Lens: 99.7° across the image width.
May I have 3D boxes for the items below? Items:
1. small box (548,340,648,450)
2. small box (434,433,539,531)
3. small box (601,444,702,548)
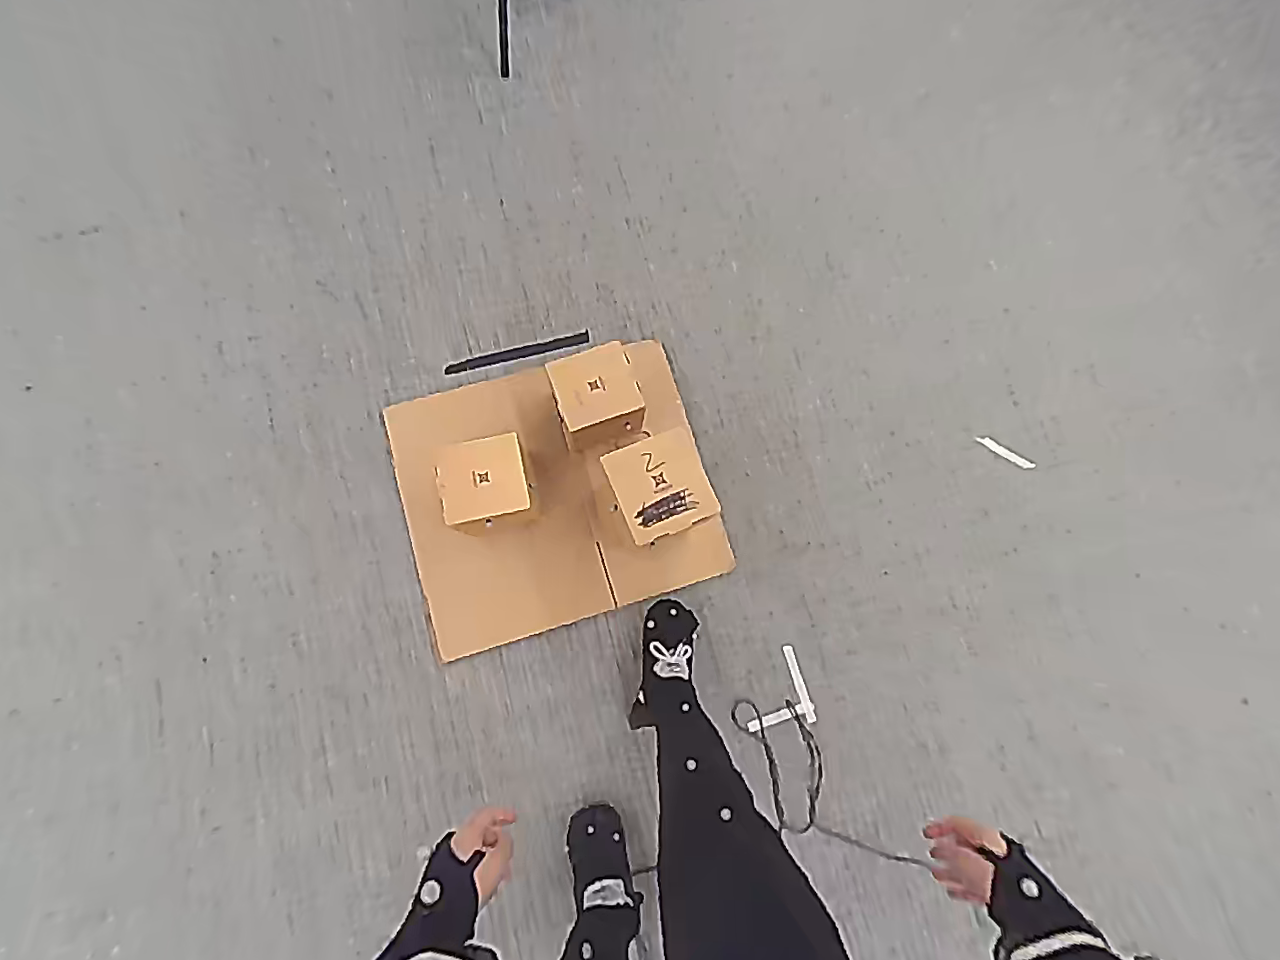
[{"bbox_3d":[-0.095,-0.186,1.226,0.179,0.176,0.168,-21,80,-7],"label":"small box"},{"bbox_3d":[-0.322,0.010,1.170,0.179,0.176,0.168,-12,80,-5],"label":"small box"},{"bbox_3d":[0.021,0.044,1.186,0.168,0.176,0.179,-20,81,-7],"label":"small box"}]
